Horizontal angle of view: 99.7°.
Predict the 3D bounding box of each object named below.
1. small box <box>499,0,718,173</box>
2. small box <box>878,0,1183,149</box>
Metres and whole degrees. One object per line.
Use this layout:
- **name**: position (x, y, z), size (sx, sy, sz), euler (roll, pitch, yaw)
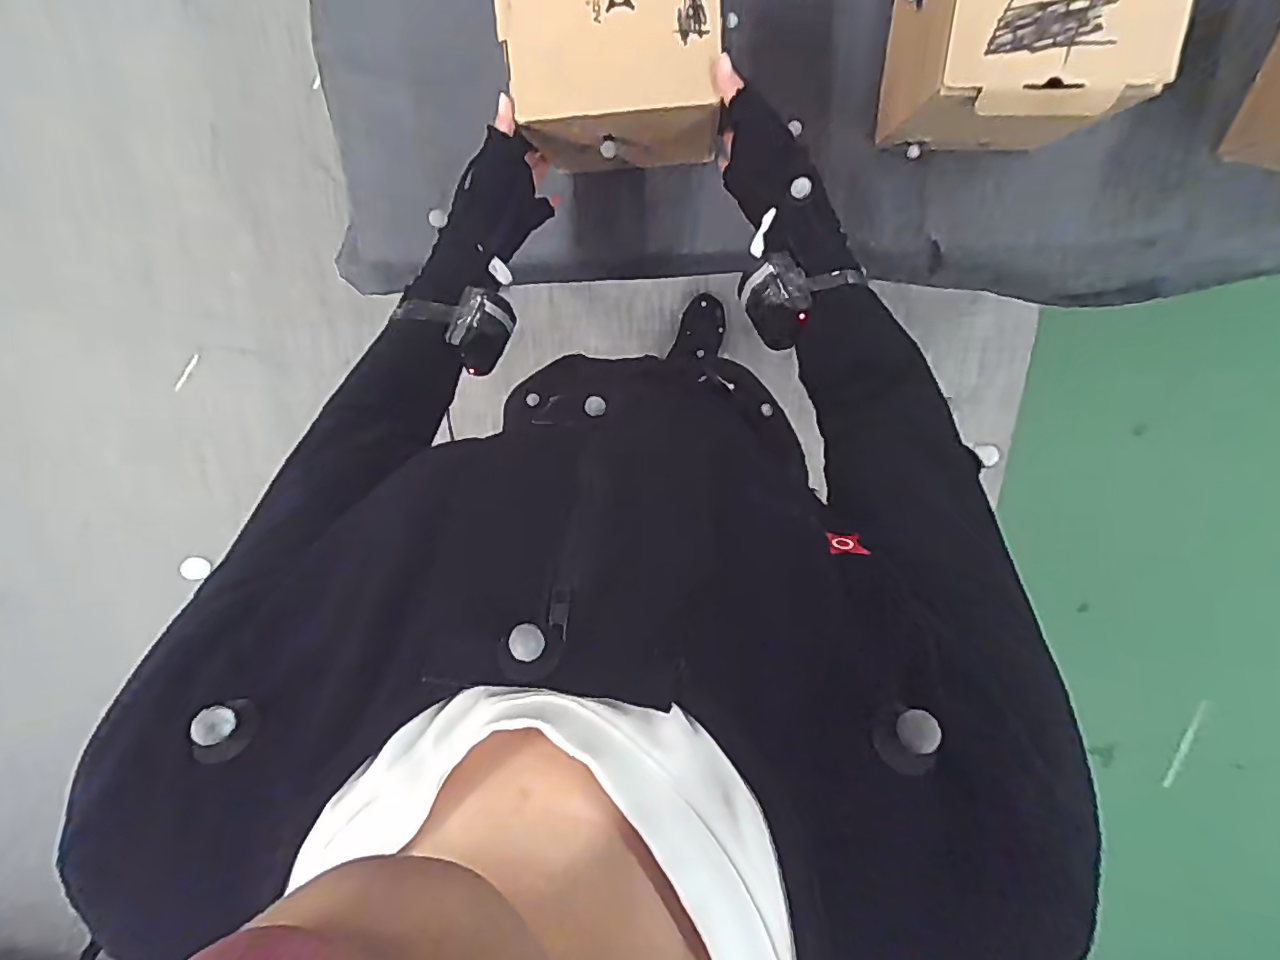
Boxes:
- **small box**: position (-0.018, -0.399, 0.500), size (0.179, 0.176, 0.168), euler (-1, 106, 7)
- **small box**: position (0.321, -0.402, 0.465), size (0.168, 0.176, 0.179), euler (3, 108, 6)
